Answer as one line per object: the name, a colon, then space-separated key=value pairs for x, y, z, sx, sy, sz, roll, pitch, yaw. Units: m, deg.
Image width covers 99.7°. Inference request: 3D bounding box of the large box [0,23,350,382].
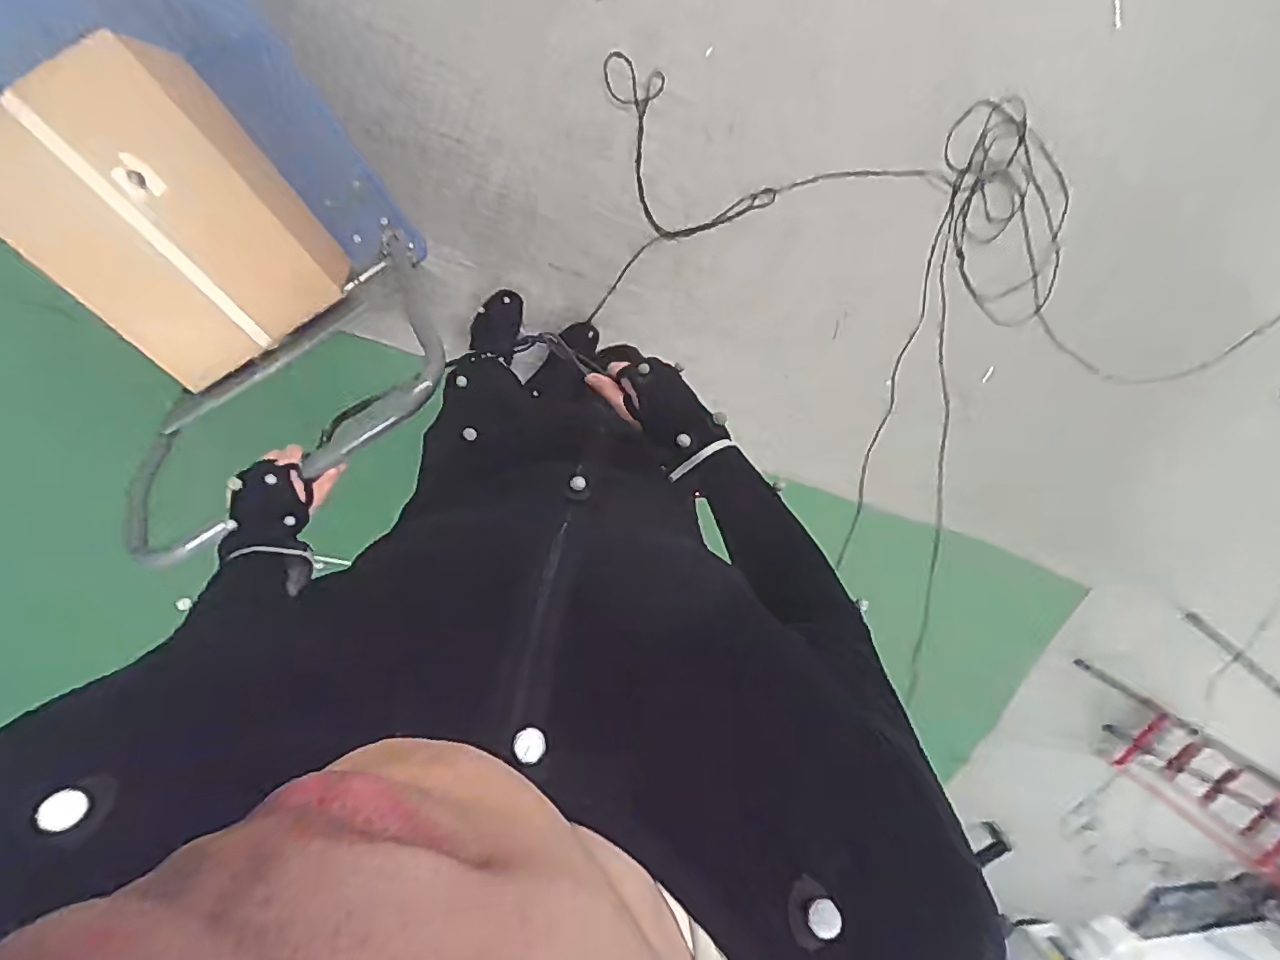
large box: x=-0.784 y=-0.454 z=0.931 sx=0.320 sy=0.320 sz=0.408 roll=-34 pitch=129 yaw=-2
